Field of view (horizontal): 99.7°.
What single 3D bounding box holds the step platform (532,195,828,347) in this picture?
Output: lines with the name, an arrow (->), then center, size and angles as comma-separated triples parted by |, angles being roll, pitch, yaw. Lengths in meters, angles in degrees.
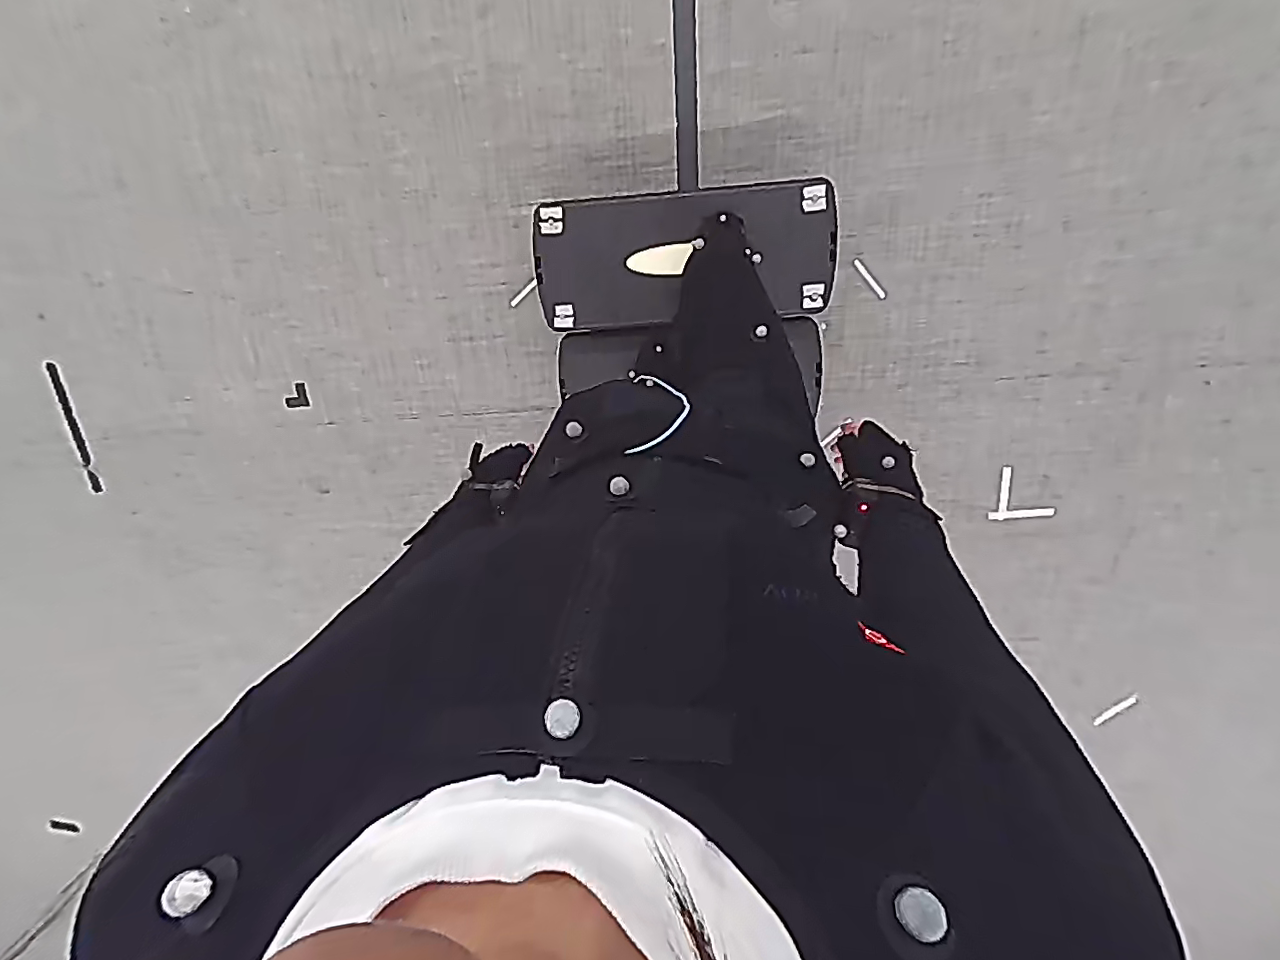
step platform -> 0.089, -0.488, 1.290 | 0.684, 0.204, 0.286 | -4, 109, 4
